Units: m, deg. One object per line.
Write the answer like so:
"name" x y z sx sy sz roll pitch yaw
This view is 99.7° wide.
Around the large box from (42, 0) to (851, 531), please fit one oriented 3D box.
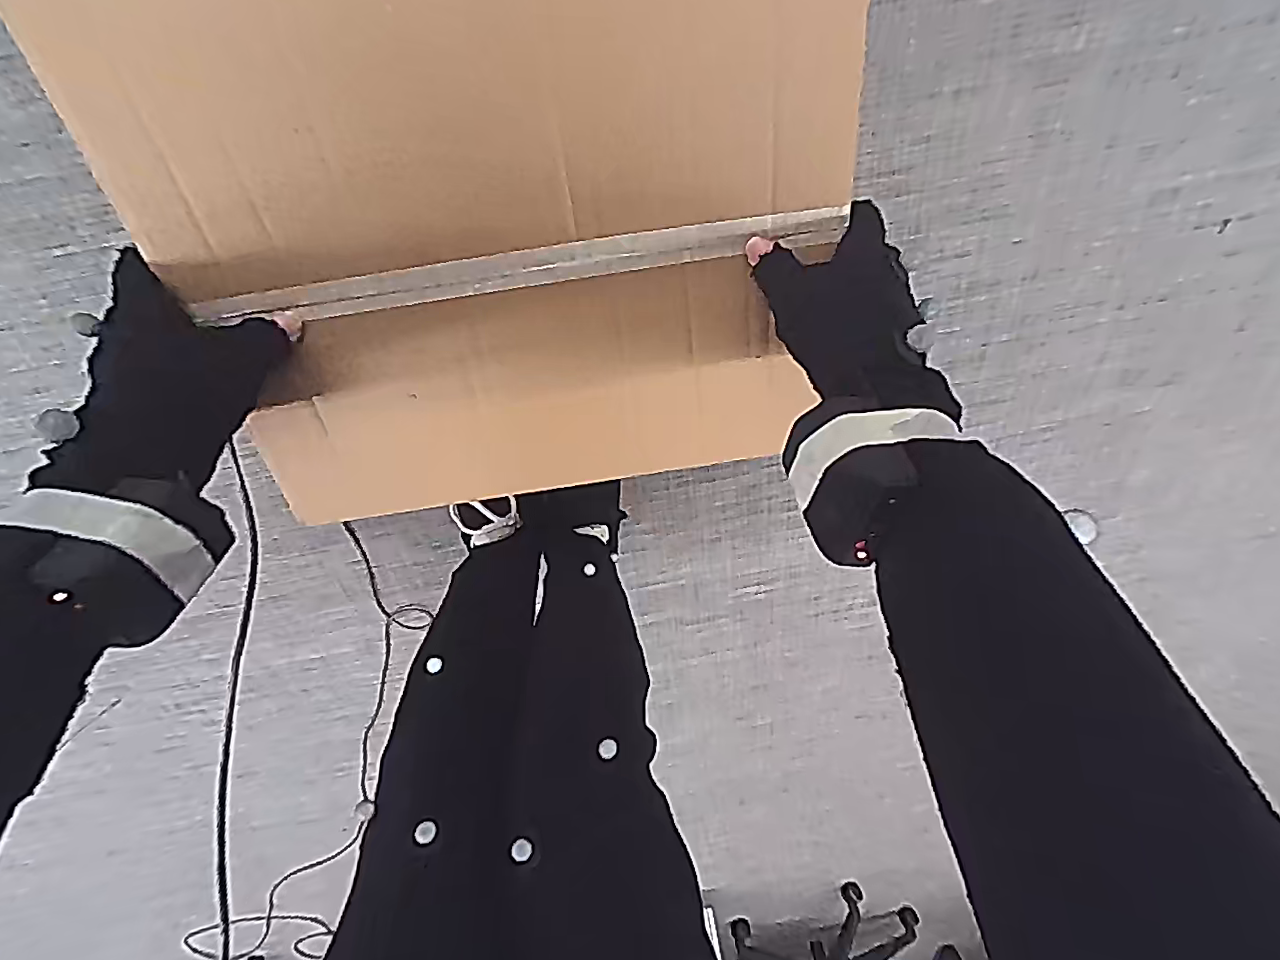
"large box" -0.089 -0.197 0.462 0.408 0.320 0.320 -9 124 -1
